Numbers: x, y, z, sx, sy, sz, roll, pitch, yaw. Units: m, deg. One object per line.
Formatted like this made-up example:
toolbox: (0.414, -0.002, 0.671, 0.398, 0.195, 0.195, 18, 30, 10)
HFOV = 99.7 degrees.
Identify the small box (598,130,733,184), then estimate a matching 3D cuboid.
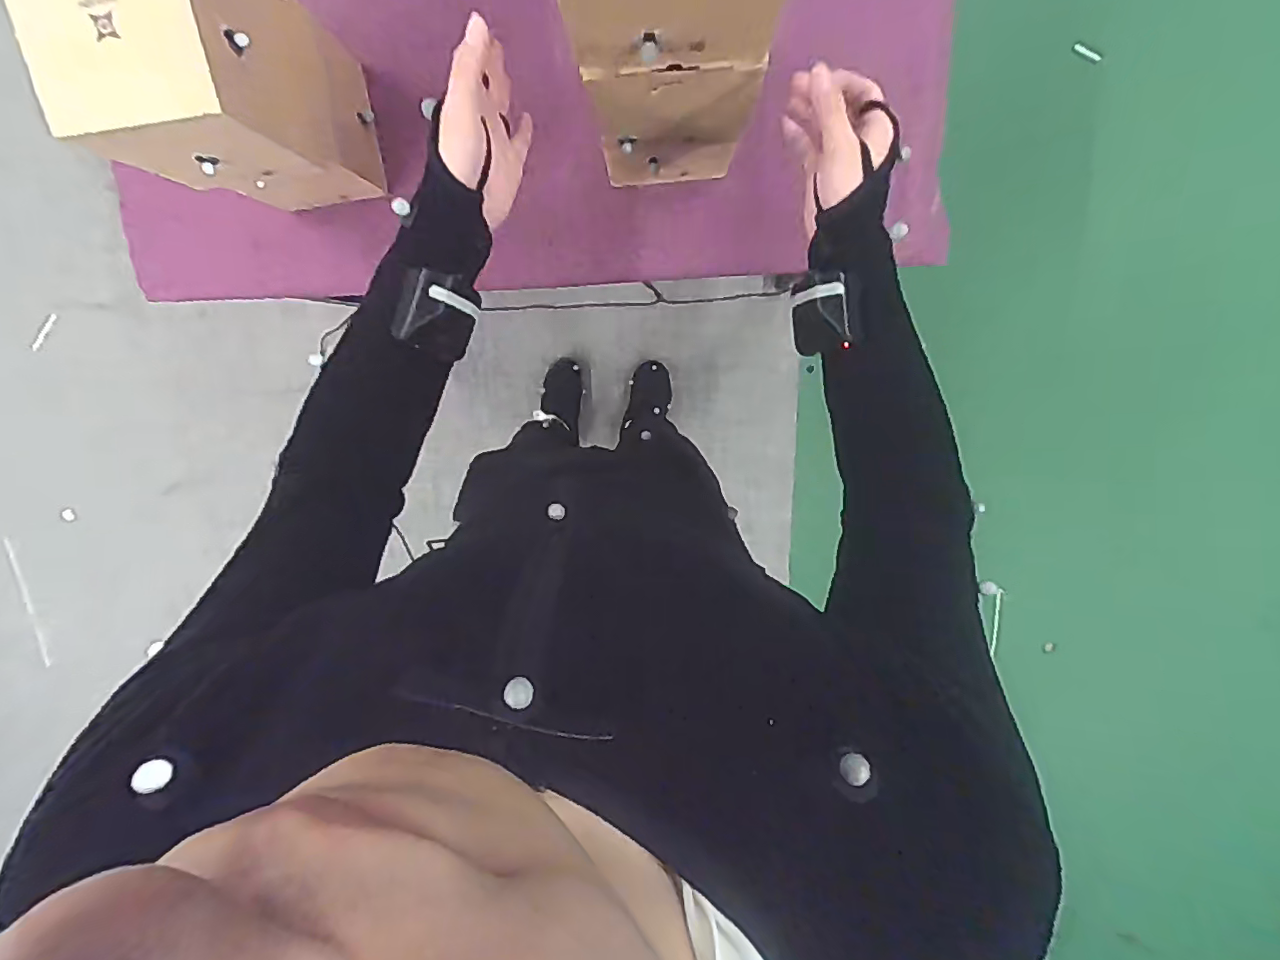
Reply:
small box: (0.032, -0.492, 0.683, 0.168, 0.176, 0.179, -4, 102, 3)

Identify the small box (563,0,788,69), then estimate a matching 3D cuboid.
small box: (0.023, -0.419, 0.363, 0.168, 0.176, 0.179, -1, 102, 2)

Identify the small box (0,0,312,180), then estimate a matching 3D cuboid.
small box: (-0.466, -0.418, 0.539, 0.168, 0.176, 0.179, -6, 103, 2)

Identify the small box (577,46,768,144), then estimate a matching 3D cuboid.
small box: (0.029, -0.448, 0.524, 0.168, 0.176, 0.179, -2, 101, 2)

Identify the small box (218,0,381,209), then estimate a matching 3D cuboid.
small box: (-0.465, -0.473, 0.695, 0.168, 0.176, 0.179, -7, 103, 3)
